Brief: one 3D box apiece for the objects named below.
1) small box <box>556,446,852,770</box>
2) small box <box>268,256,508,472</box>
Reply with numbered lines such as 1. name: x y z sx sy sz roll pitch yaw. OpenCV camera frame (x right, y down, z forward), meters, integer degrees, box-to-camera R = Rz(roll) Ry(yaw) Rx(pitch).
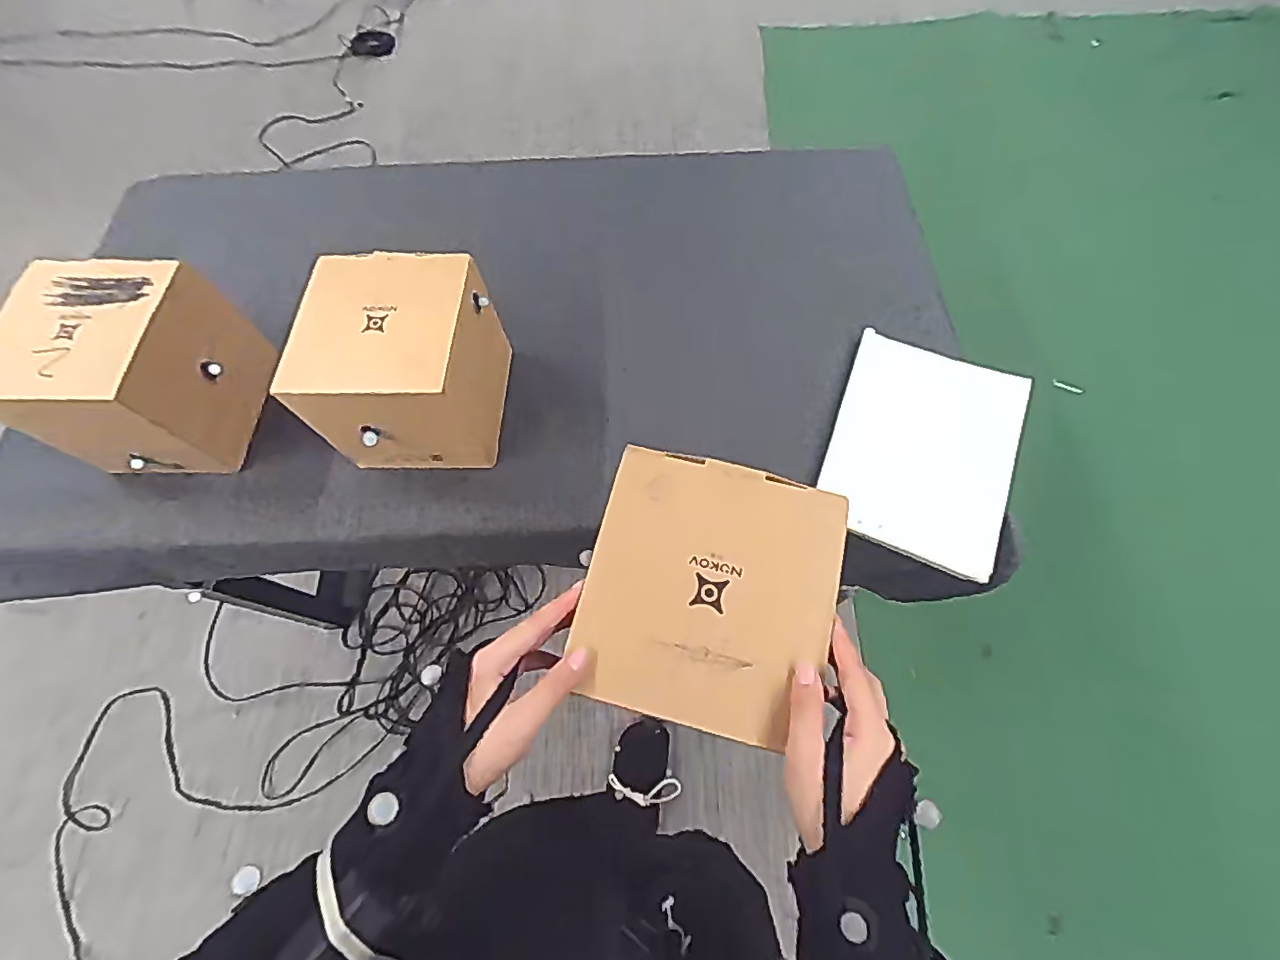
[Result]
1. small box: 0.048 0.099 0.427 0.168 0.176 0.179 14 72 6
2. small box: -0.254 -0.118 0.597 0.168 0.176 0.179 0 65 3
